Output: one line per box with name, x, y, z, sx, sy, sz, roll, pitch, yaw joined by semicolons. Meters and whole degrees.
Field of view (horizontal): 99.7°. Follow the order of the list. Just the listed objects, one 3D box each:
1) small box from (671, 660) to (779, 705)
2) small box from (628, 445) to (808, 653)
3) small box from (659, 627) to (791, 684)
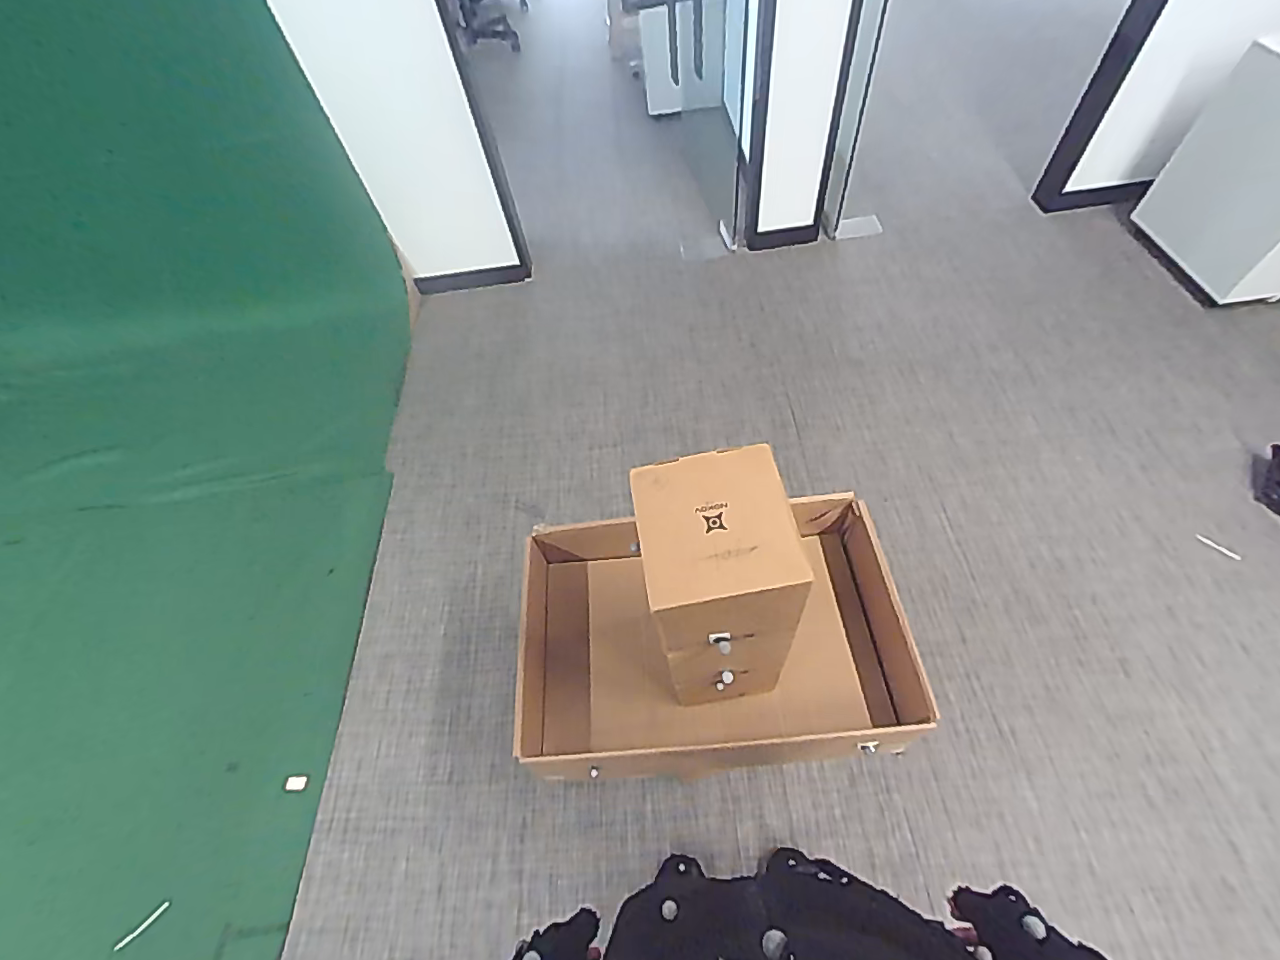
small box;0.127;0.262;0.919;0.168;0.176;0.179;-12;55;2
small box;0.086;0.087;0.648;0.168;0.176;0.179;-12;56;2
small box;0.105;0.176;0.782;0.168;0.176;0.179;-10;56;1
